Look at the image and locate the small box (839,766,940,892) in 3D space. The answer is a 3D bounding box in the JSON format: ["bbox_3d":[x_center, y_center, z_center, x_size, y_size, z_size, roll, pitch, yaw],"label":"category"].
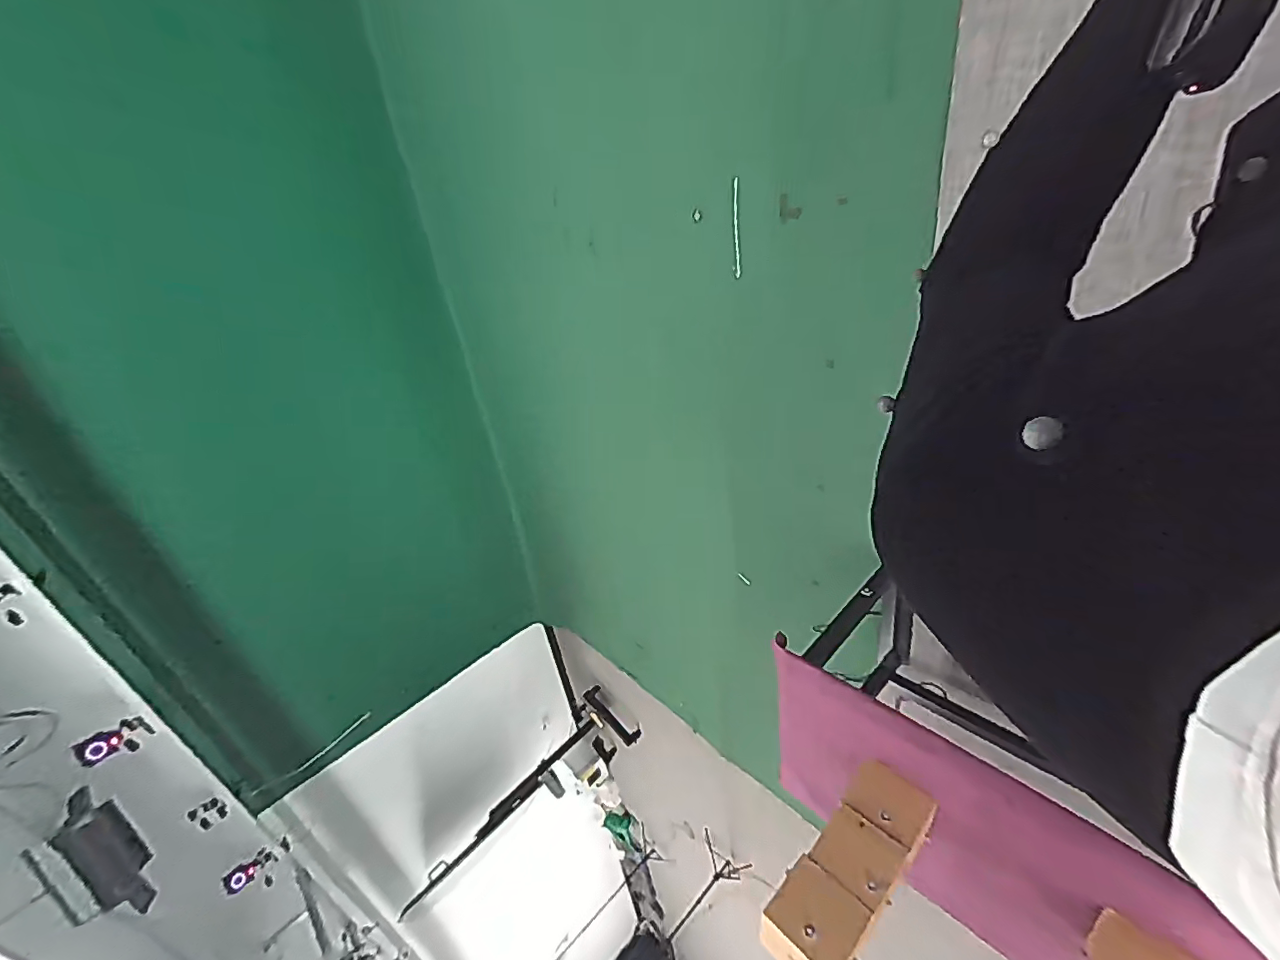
[{"bbox_3d":[0.633,0.875,1.373,0.179,0.176,0.168,25,134,41],"label":"small box"}]

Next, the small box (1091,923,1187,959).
[{"bbox_3d":[0.973,1.003,1.032,0.179,0.176,0.168,19,130,44],"label":"small box"}]

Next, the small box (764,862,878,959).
[{"bbox_3d":[0.395,1.000,1.185,0.179,0.176,0.168,26,134,39],"label":"small box"}]
